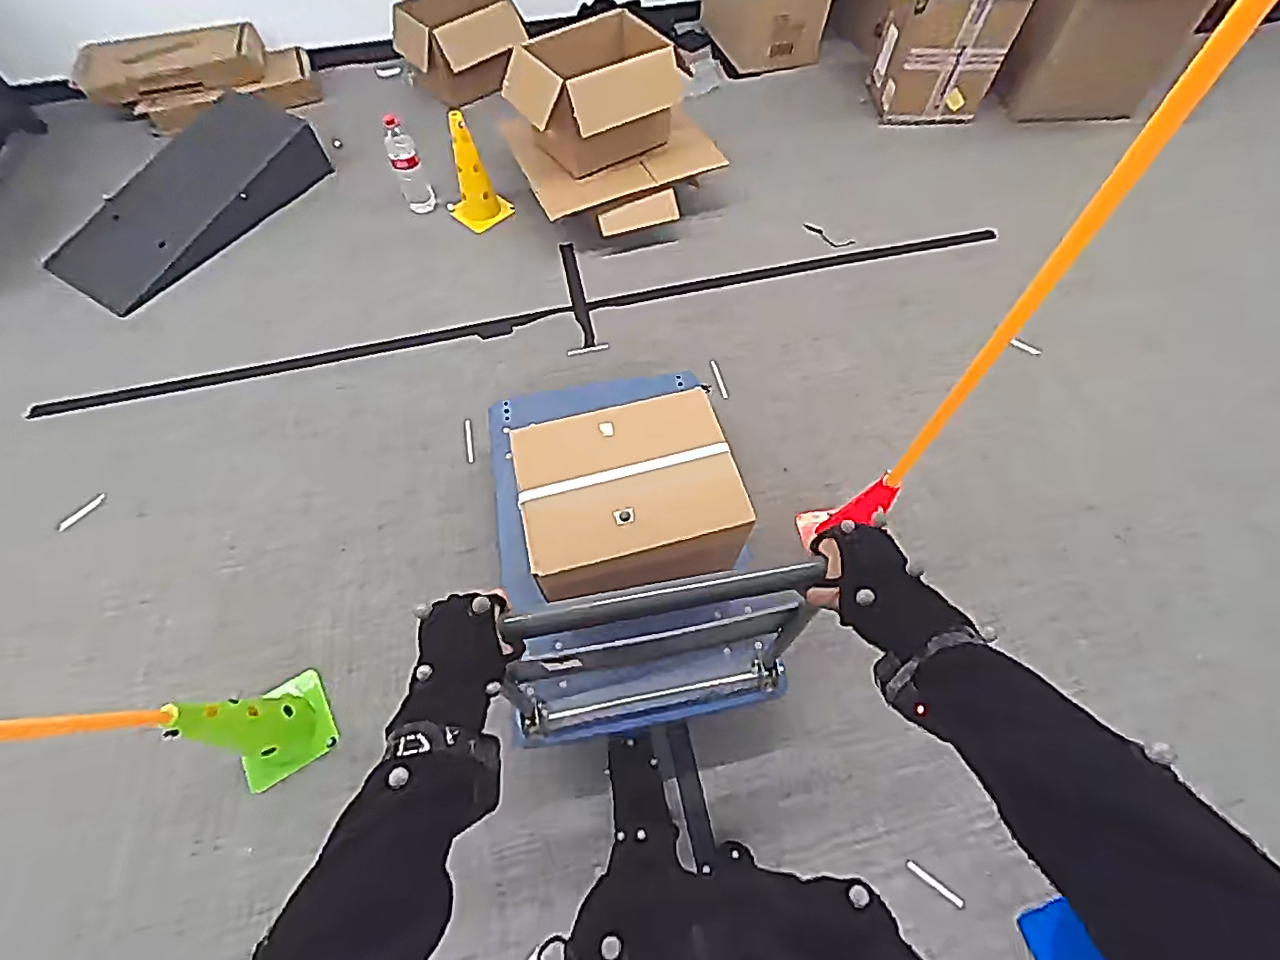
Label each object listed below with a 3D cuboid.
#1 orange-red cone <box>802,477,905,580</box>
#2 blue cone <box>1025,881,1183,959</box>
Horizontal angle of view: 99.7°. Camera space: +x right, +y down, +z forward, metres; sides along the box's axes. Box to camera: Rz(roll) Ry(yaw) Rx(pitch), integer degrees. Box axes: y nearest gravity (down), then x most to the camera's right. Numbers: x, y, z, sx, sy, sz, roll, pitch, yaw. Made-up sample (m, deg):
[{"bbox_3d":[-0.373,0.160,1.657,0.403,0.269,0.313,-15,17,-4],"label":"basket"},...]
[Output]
[{"bbox_3d":[0.547,0.089,1.303,0.199,0.360,0.198,-6,63,-4],"label":"orange-red cone"},{"bbox_3d":[0.876,0.843,0.912,0.193,0.380,0.192,-15,62,-8],"label":"blue cone"}]
